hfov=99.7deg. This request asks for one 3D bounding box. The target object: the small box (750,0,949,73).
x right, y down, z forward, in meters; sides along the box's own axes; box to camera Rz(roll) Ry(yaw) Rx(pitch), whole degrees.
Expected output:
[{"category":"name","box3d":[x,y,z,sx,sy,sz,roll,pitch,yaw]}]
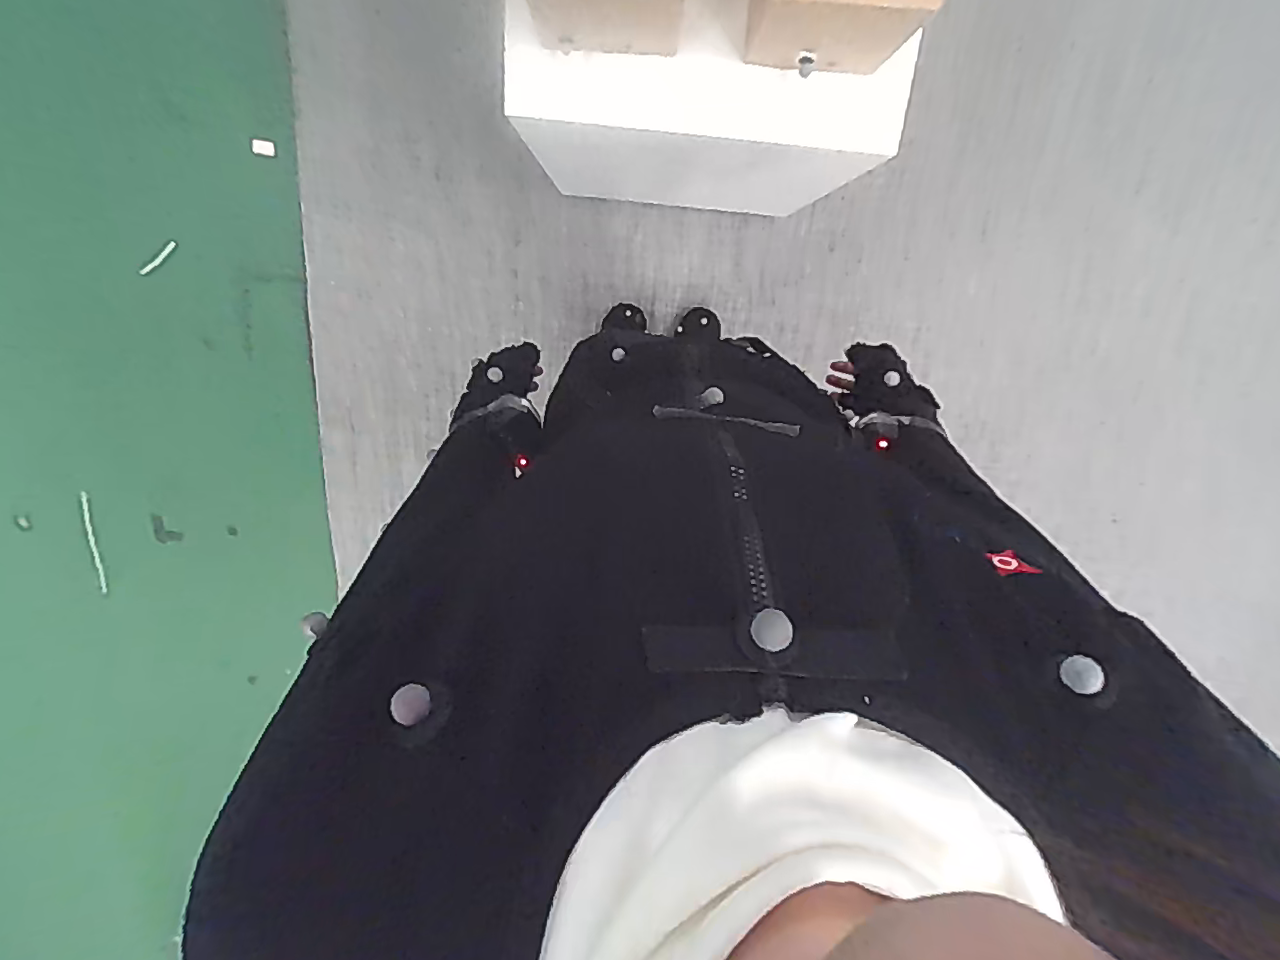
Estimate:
[{"category":"small box","box3d":[0.214,-0.556,0.555,0.168,0.176,0.179,3,110,1]}]

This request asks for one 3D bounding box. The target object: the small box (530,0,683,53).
[{"category":"small box","box3d":[-0.031,-0.581,0.561,0.168,0.176,0.179,2,107,-1]}]
